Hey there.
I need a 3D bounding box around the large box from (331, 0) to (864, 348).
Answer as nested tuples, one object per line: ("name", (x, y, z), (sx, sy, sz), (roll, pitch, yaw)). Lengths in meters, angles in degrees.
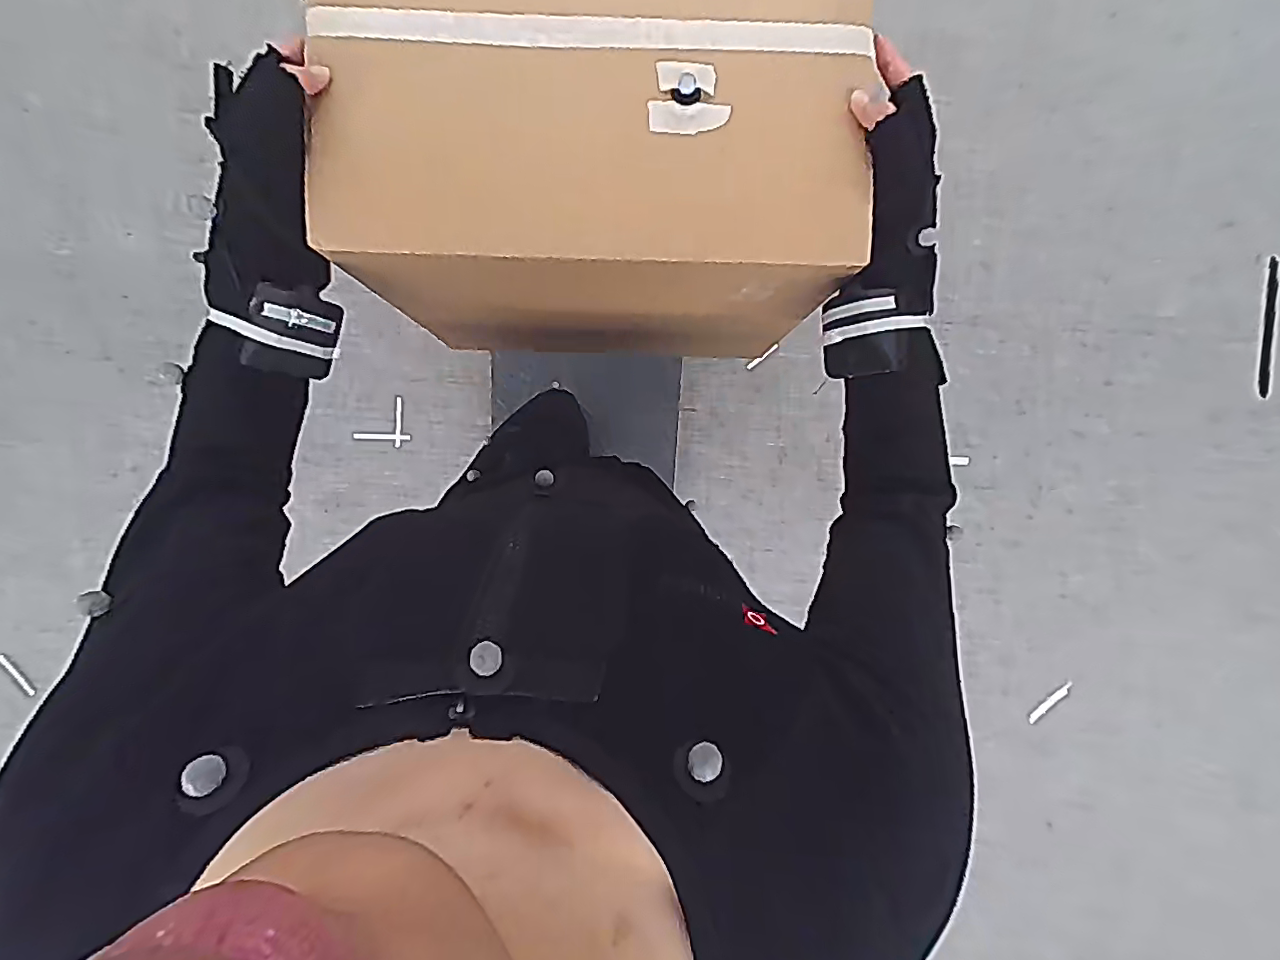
("large box", (-0.034, -0.325, 0.554), (0.408, 0.320, 0.320), (1, 90, -2))
